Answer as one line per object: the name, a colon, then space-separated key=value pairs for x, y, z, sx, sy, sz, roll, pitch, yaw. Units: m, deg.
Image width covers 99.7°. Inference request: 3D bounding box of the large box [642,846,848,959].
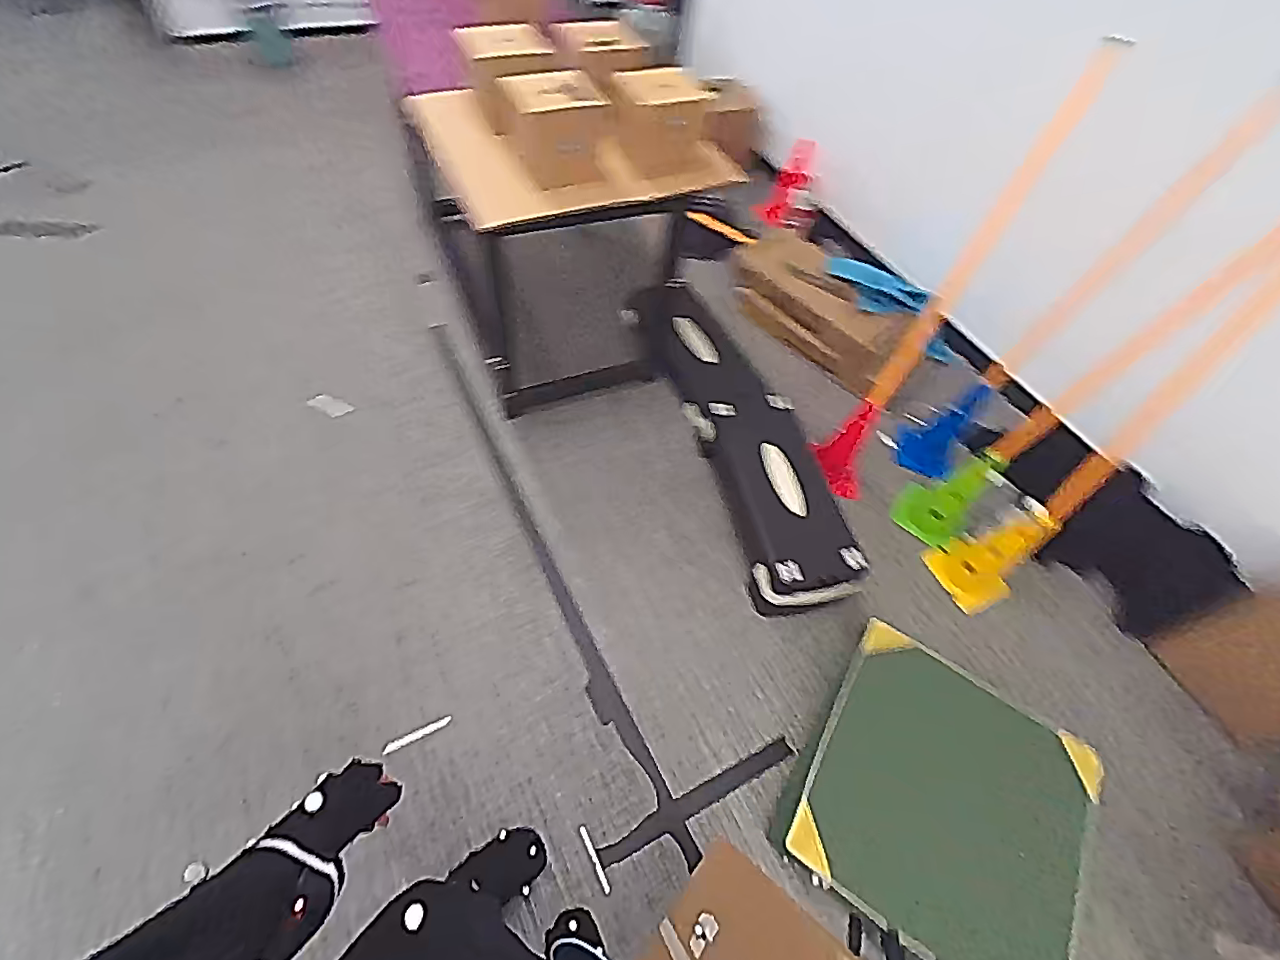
large box: x=0.191 y=0.772 z=0.689 sx=0.320 sy=0.408 sz=0.320 roll=41 pitch=70 yaw=4
